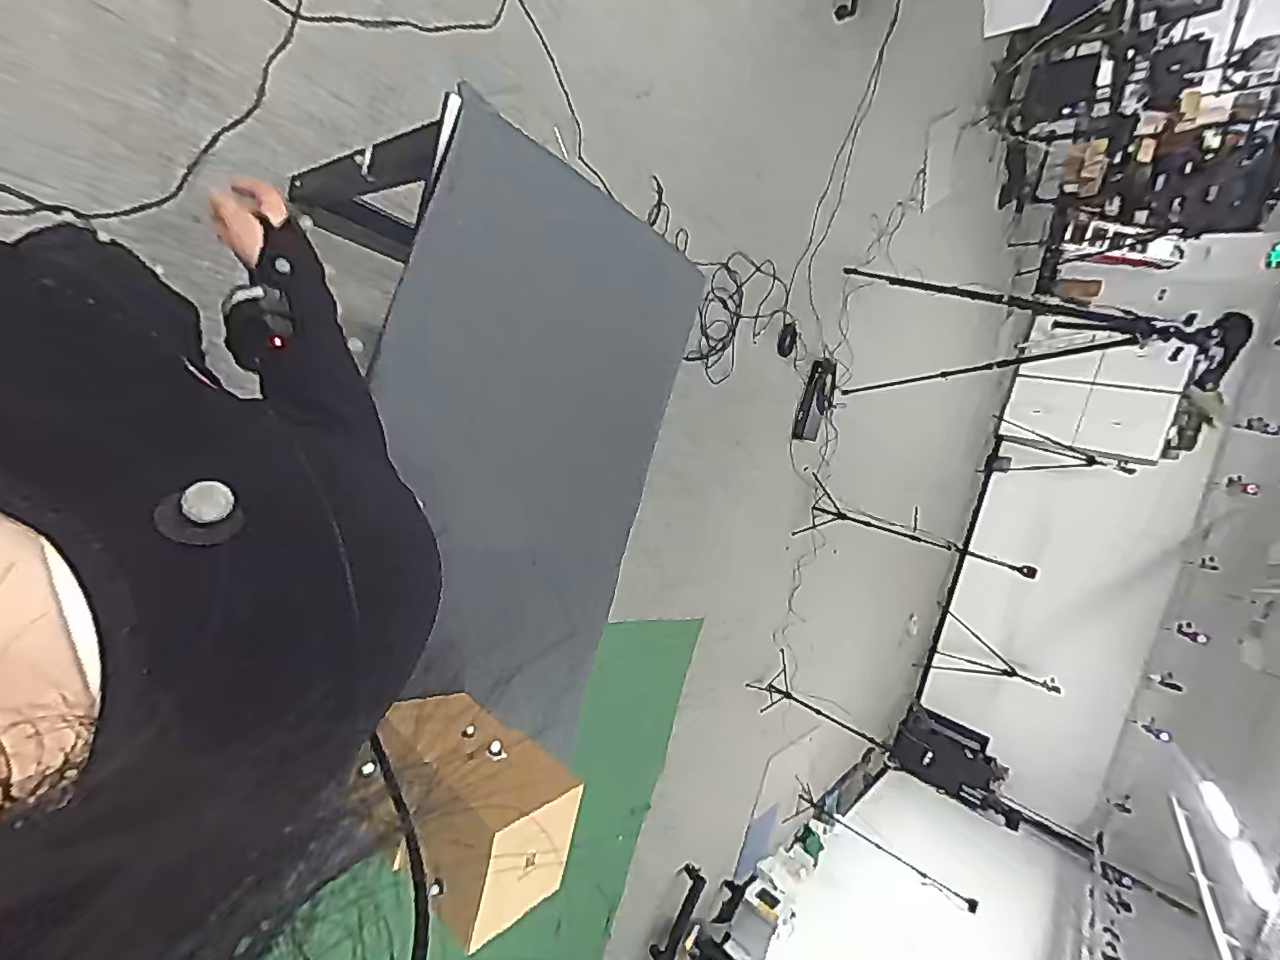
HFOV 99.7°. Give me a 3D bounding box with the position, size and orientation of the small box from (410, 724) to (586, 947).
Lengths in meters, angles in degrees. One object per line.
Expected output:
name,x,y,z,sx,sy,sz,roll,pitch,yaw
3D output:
small box,-0.208,0.493,0.783,0.168,0.176,0.179,5,99,-53

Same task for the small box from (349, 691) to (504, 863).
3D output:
small box,-0.333,0.464,0.883,0.179,0.176,0.168,19,89,-52
